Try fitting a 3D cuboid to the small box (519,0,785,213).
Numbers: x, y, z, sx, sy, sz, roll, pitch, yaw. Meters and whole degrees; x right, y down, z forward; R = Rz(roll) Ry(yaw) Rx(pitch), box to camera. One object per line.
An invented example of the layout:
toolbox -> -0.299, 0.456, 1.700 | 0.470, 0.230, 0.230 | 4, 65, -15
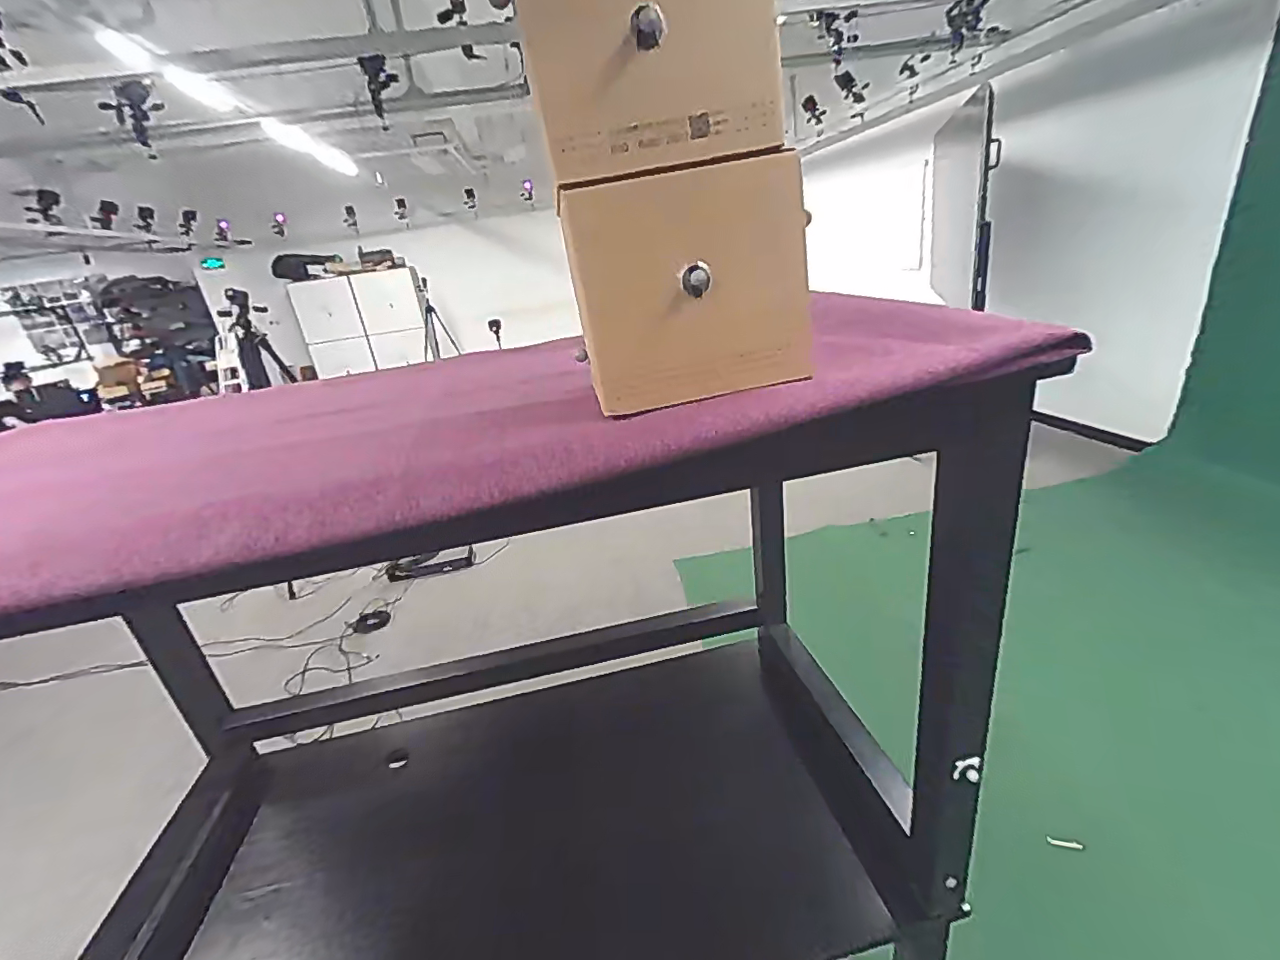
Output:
small box -> 0.002, -0.318, 0.417 | 0.168, 0.176, 0.179 | -12, 21, -4
